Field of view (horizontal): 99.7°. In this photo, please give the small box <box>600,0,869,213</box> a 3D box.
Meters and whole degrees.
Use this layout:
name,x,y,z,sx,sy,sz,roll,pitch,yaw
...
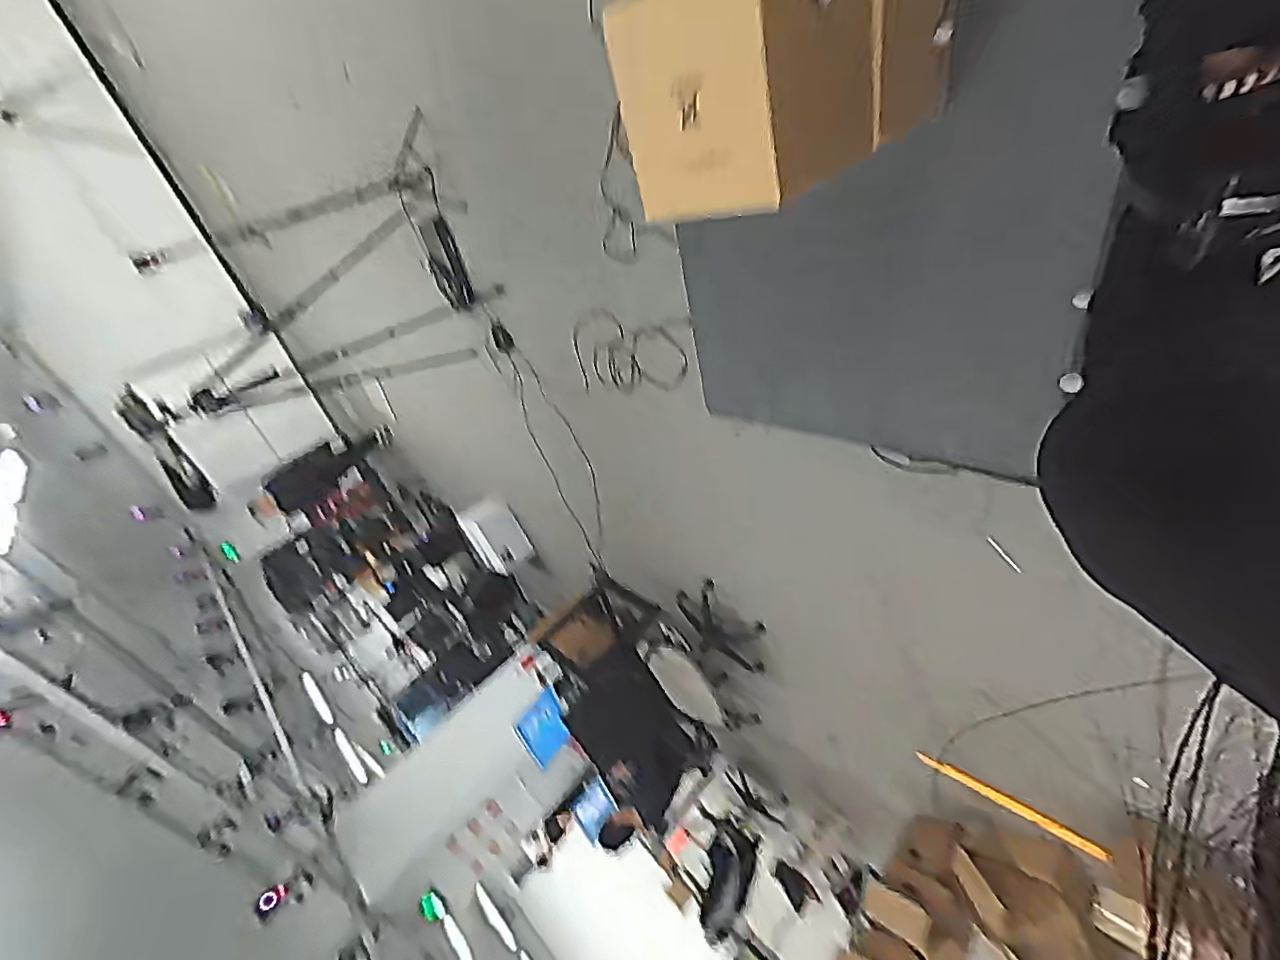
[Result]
name,x,y,z,sx,sy,sz,roll,pitch,yaw
small box,0.095,-0.369,0.502,0.168,0.176,0.179,21,139,43

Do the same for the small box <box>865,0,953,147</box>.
name,x,y,z,sx,sy,sz,roll,pitch,yaw
small box,0.208,-0.460,0.579,0.179,0.176,0.168,22,139,40
